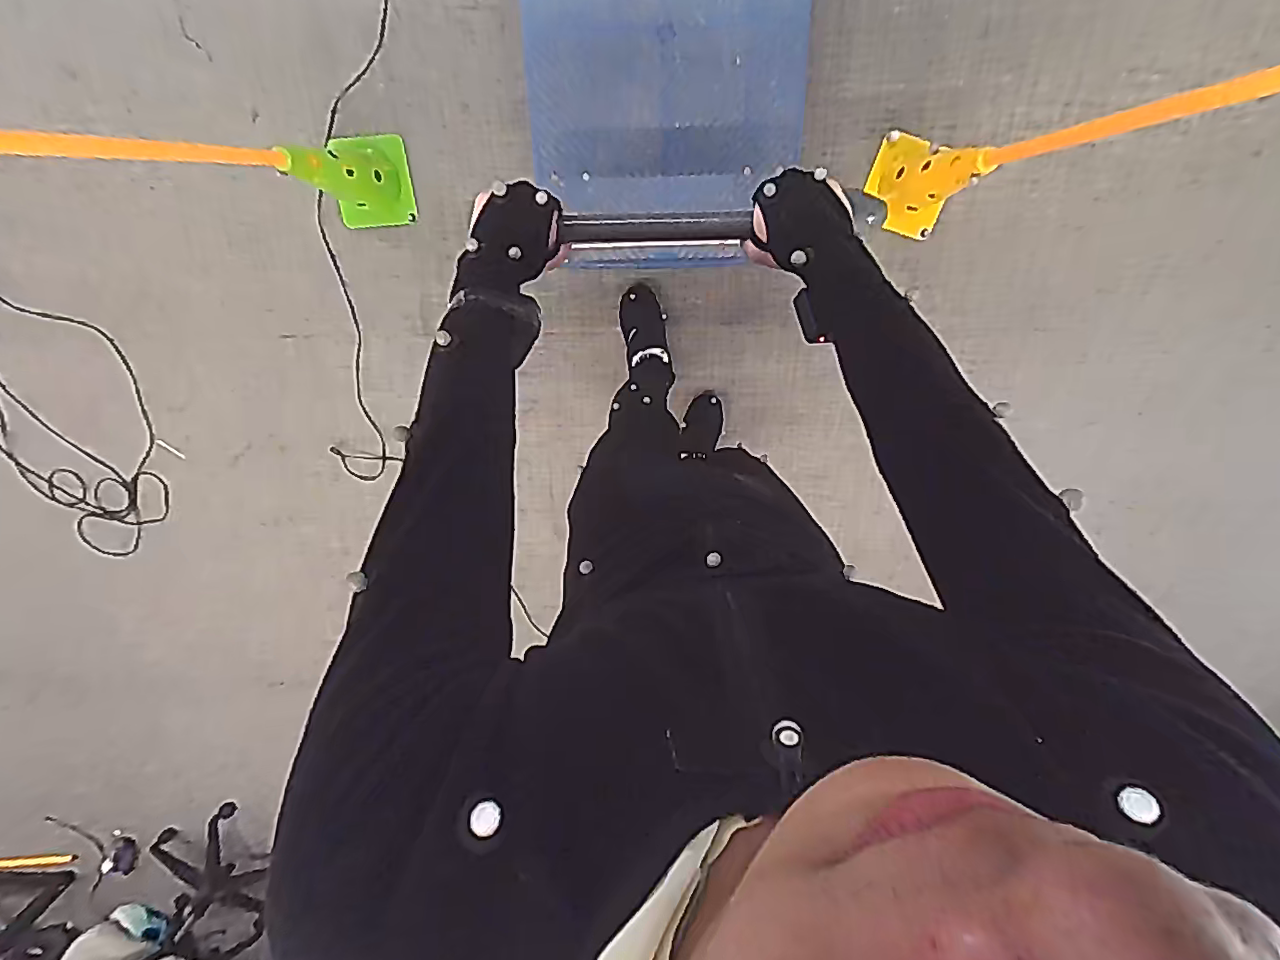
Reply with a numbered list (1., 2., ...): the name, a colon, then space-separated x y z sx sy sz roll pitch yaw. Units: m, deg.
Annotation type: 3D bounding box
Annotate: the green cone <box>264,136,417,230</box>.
1. green cone: -0.688 -0.685 1.208 0.202 0.368 0.200 -3 111 6
